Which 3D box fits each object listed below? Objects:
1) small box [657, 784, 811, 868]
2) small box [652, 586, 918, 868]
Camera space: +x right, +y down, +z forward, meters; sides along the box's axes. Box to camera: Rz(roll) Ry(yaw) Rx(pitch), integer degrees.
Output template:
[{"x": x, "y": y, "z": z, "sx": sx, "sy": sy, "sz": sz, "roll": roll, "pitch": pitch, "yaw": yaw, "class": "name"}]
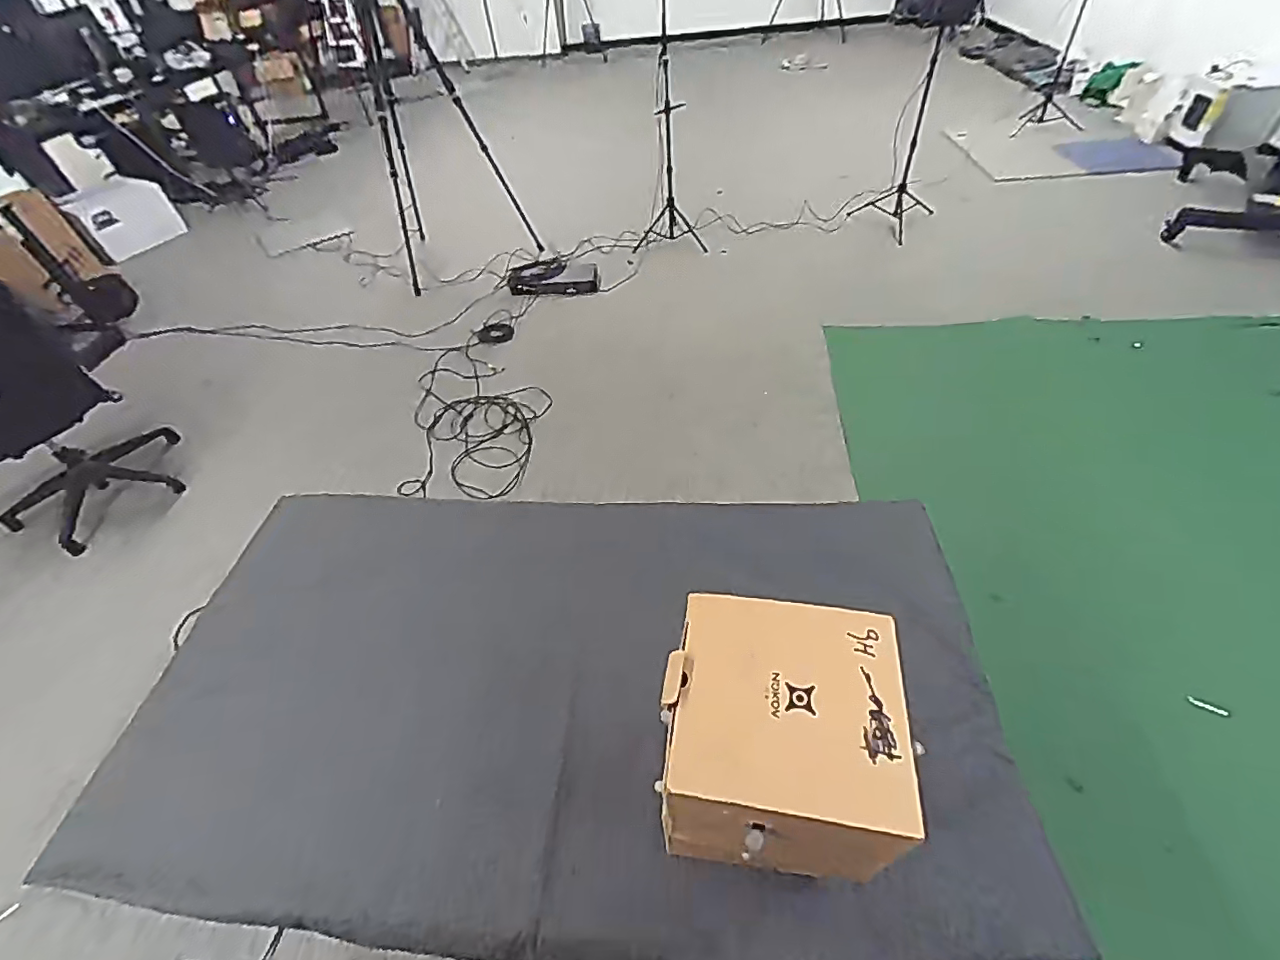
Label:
[{"x": 0.117, "y": 0.312, "z": 0.601, "sx": 0.179, "sy": 0.176, "sz": 0.168, "roll": 3, "pitch": 48, "yaw": 8, "class": "small box"}, {"x": 0.115, "y": 0.214, "z": 0.468, "sx": 0.179, "sy": 0.176, "sz": 0.168, "roll": 4, "pitch": 48, "yaw": 11, "class": "small box"}]
